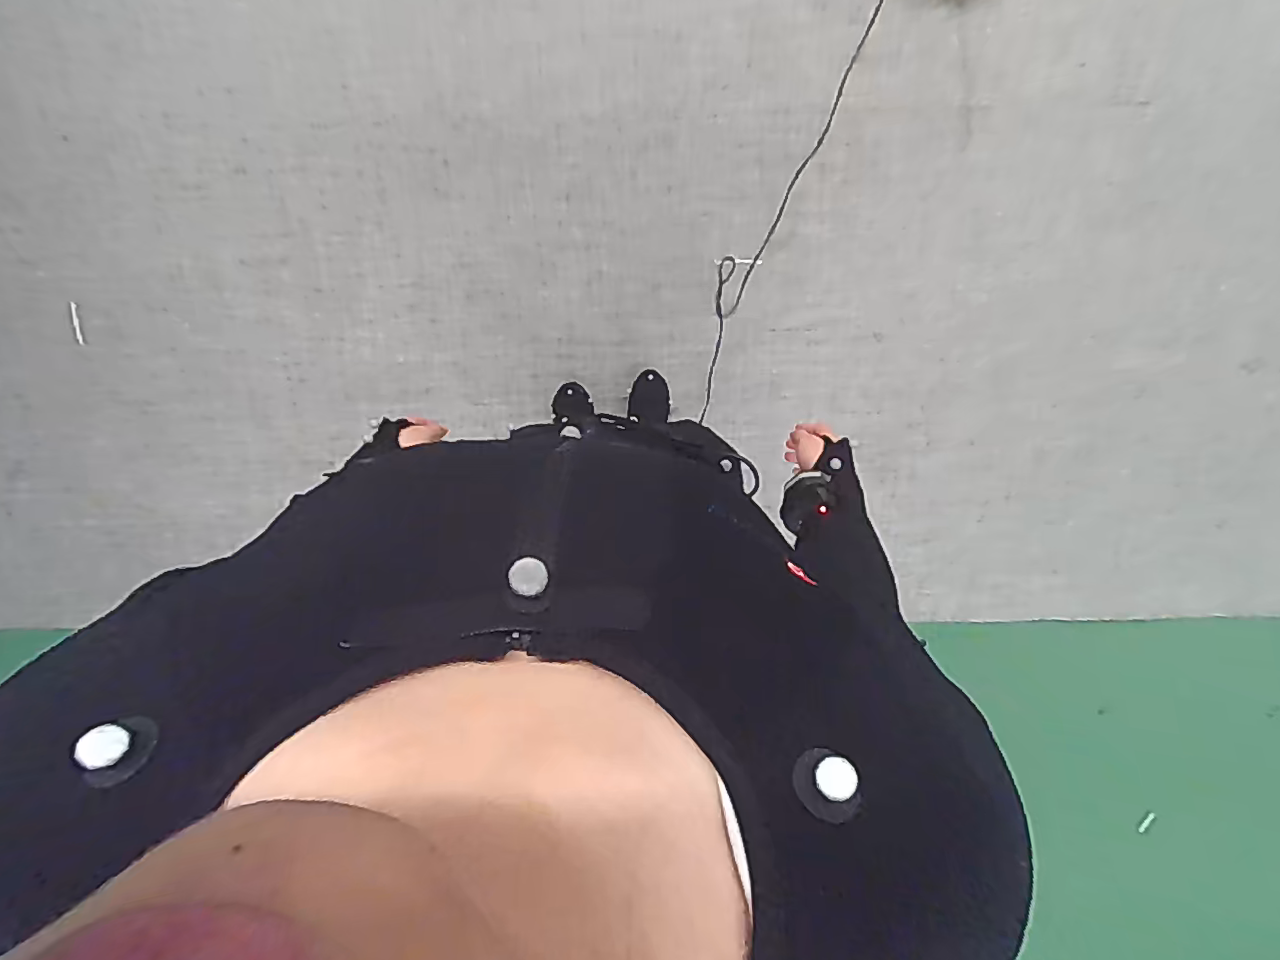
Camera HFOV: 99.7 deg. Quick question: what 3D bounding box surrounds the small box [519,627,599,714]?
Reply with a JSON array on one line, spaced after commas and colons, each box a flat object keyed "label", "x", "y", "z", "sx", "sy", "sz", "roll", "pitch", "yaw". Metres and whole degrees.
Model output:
[{"label": "small box", "x": -0.187, "y": 0.468, "z": 1.277, "sx": 0.168, "sy": 0.176, "sz": 0.179, "roll": 3, "pitch": 99, "yaw": 0}]
